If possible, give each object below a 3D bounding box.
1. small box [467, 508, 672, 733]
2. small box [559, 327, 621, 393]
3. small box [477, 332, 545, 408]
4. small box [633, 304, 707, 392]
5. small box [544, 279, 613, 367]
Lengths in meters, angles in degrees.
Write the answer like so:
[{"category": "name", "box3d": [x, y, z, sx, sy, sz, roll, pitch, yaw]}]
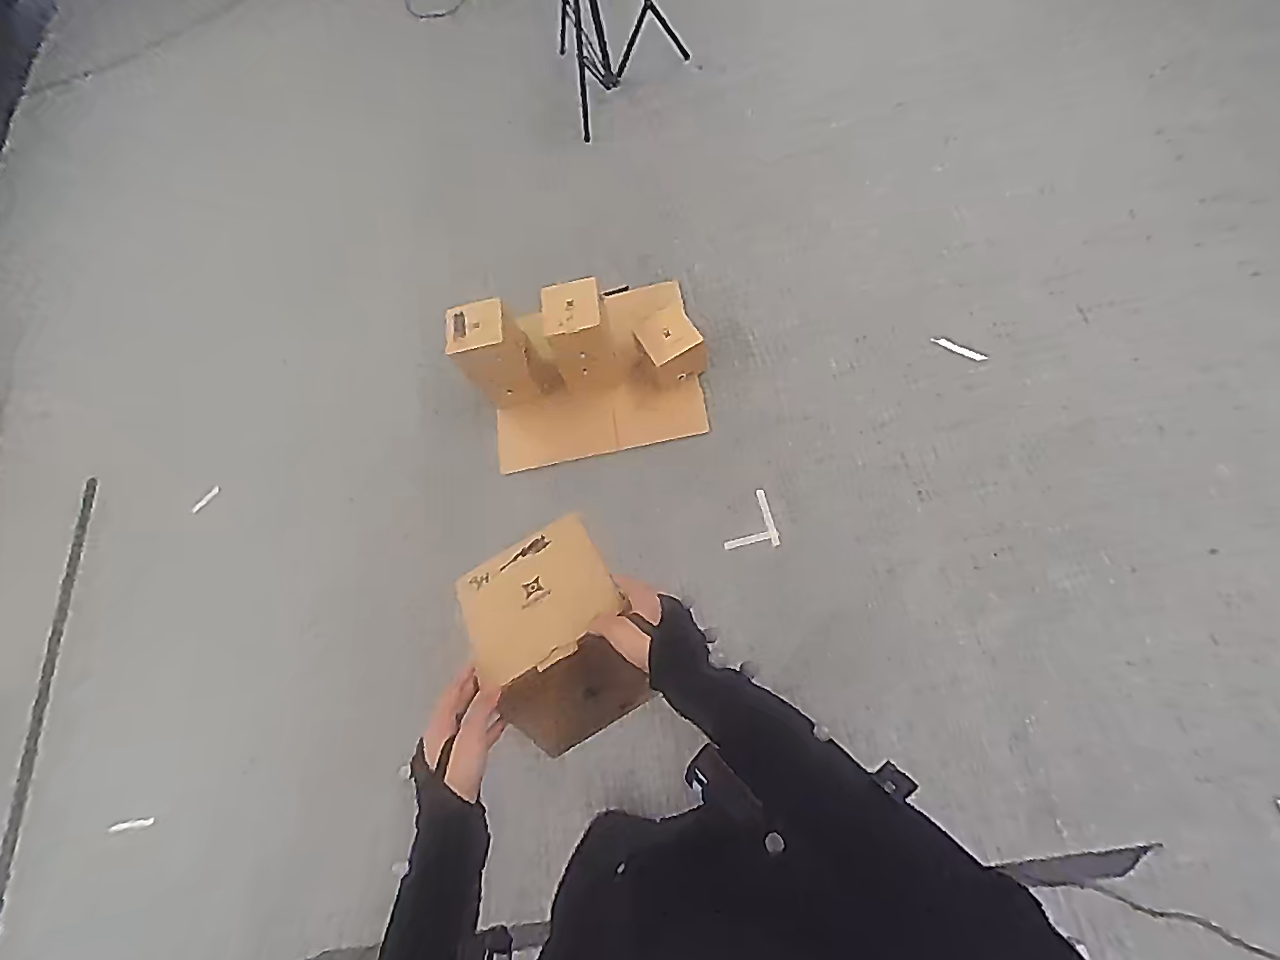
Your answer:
[{"category": "small box", "box3d": [-0.081, 0.174, 0.648, 0.168, 0.176, 0.179, -29, 42, -5]}, {"category": "small box", "box3d": [-0.161, -0.403, 1.766, 0.179, 0.176, 0.168, -10, 69, 7]}, {"category": "small box", "box3d": [-0.422, -0.361, 1.797, 0.179, 0.176, 0.168, -12, 68, 8]}, {"category": "small box", "box3d": [0.098, -0.414, 1.720, 0.168, 0.176, 0.179, -30, 67, 0]}, {"category": "small box", "box3d": [-0.180, -0.464, 1.613, 0.168, 0.176, 0.179, -9, 69, 7]}]
